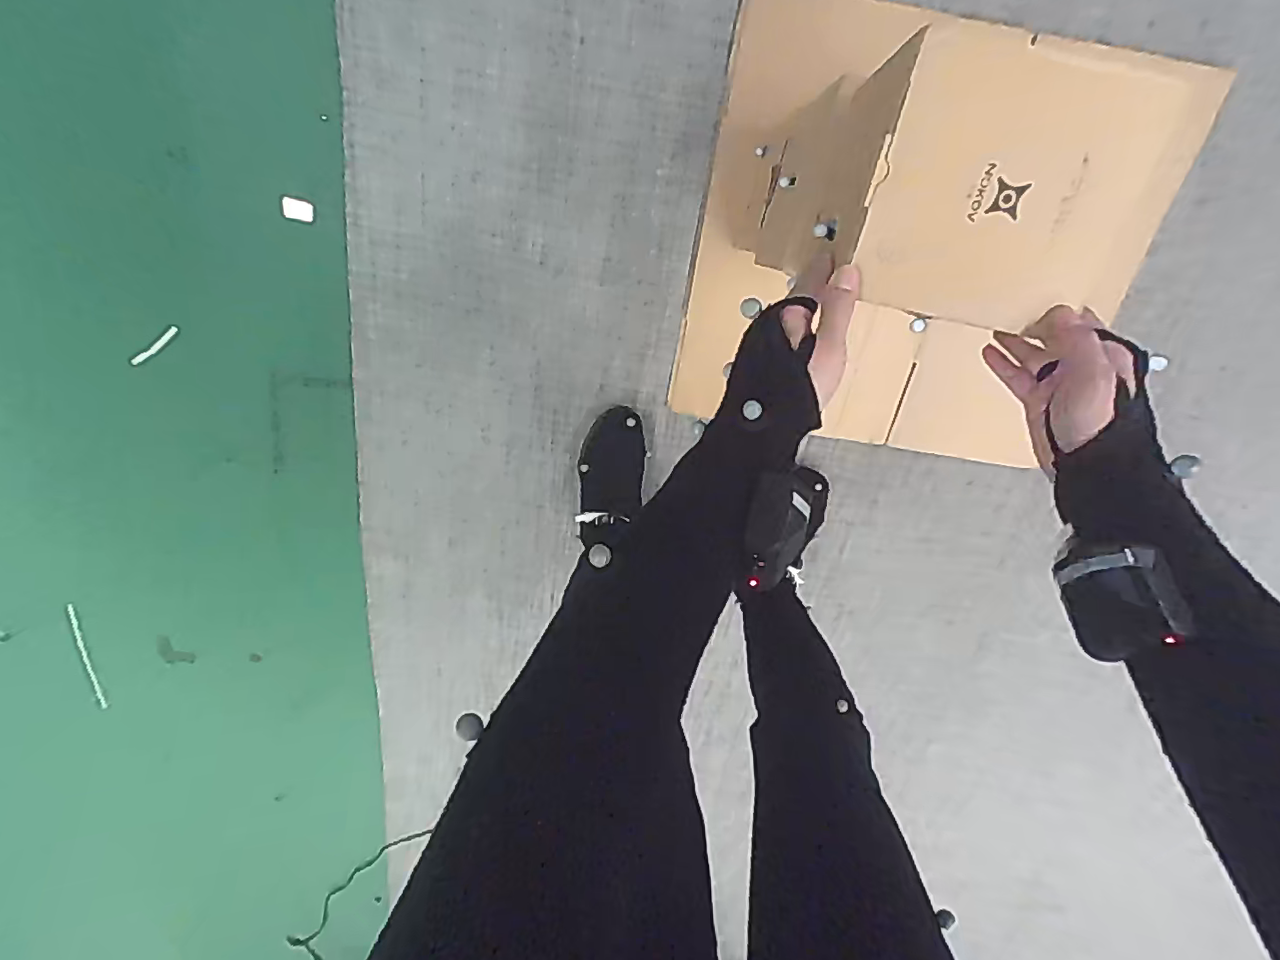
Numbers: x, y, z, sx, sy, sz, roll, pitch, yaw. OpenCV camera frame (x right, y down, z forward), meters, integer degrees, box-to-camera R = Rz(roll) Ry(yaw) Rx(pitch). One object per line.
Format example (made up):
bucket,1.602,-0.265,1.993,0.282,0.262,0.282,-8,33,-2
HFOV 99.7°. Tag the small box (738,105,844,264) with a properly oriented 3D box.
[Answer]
small box,0.247,-0.387,0.749,0.179,0.176,0.168,12,115,-5

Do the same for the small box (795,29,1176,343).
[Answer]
small box,0.244,-0.222,0.443,0.179,0.176,0.168,12,114,-1
